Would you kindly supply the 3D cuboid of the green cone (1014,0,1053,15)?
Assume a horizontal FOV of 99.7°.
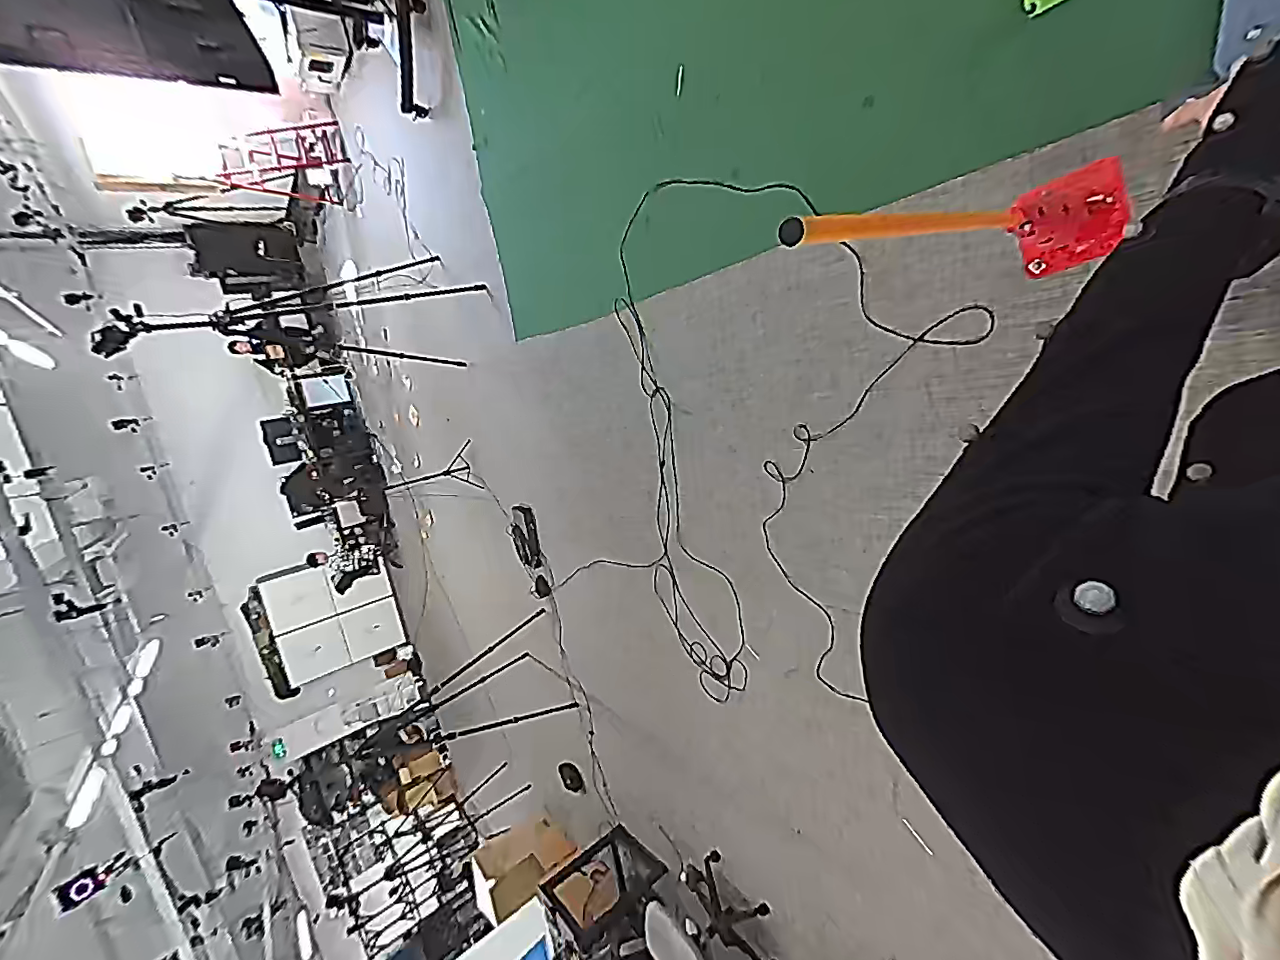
[{"bbox_3d":[0.742,-1.069,1.005,0.200,0.368,0.202,3,107,53],"label":"green cone"}]
